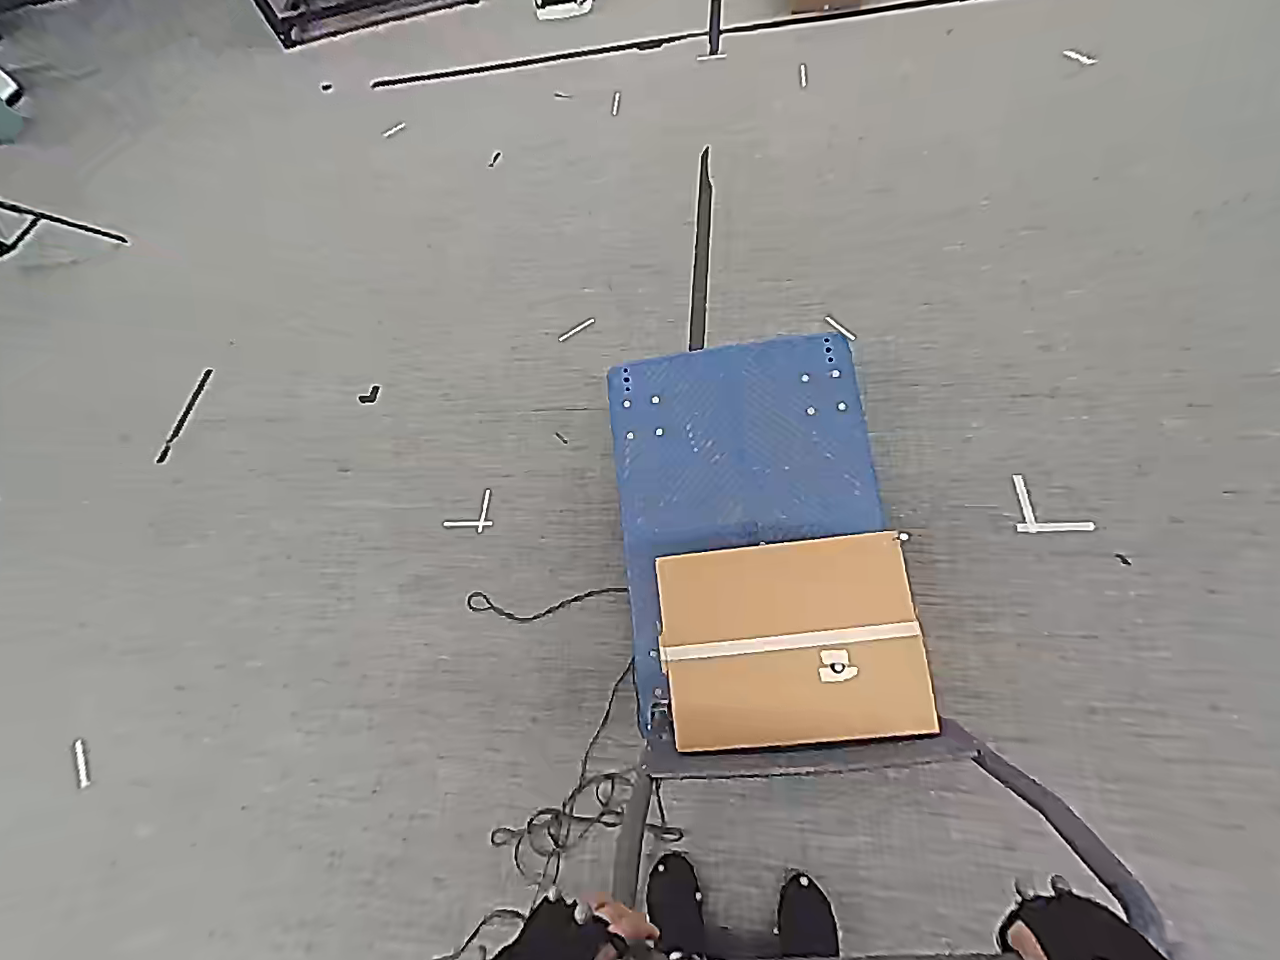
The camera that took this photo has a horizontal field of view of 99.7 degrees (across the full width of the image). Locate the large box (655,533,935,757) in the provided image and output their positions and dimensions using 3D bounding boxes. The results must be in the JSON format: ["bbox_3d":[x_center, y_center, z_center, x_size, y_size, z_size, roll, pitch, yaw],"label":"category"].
[{"bbox_3d":[0.253,0.294,1.014,0.408,0.320,0.320,-7,78,5],"label":"large box"}]
